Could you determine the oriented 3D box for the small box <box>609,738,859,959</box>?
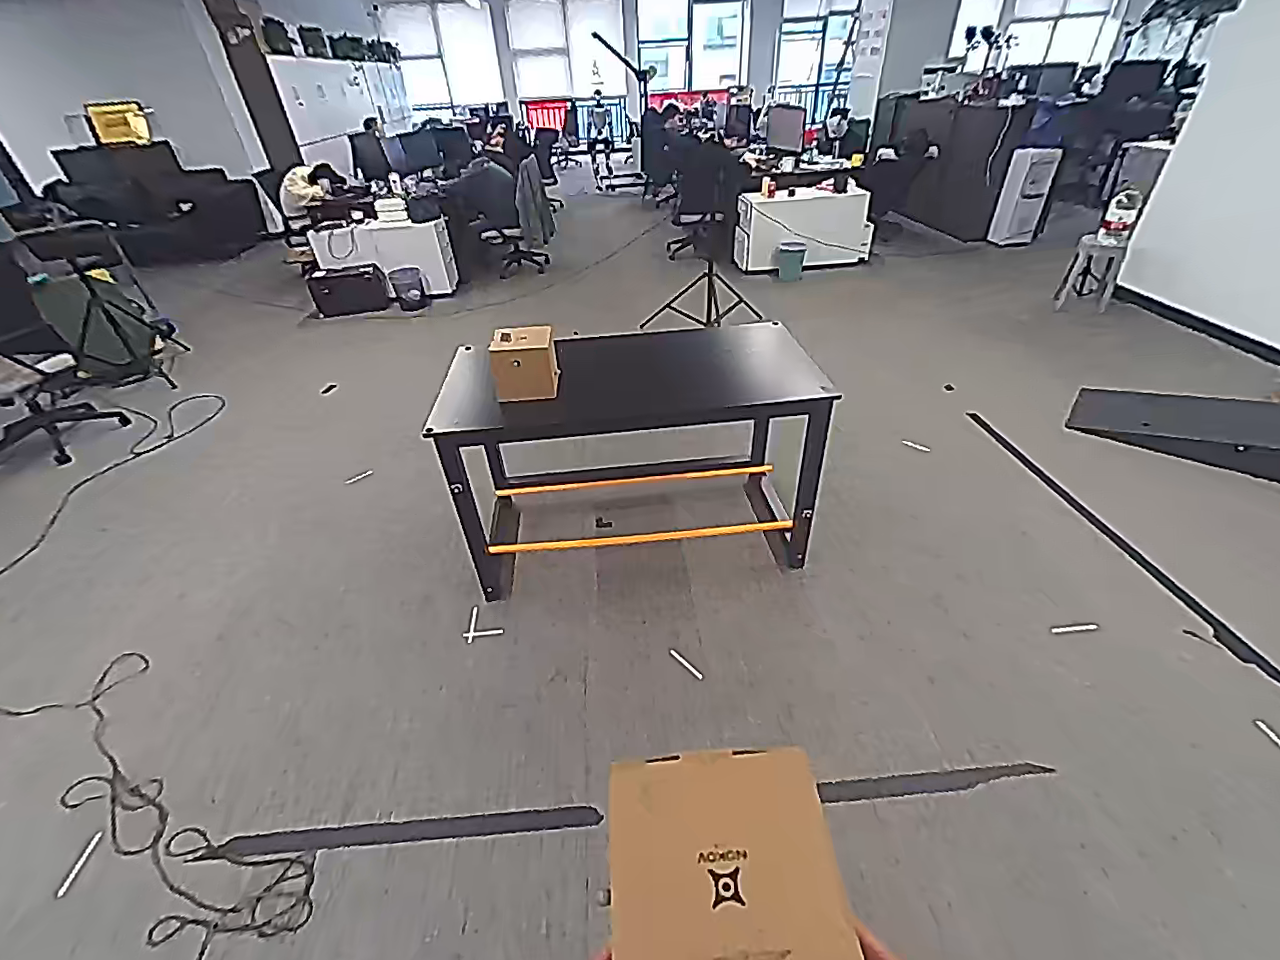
[{"bbox_3d":[0.062,0.341,0.445,0.168,0.176,0.179,-5,41,0],"label":"small box"}]

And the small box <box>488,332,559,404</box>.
[{"bbox_3d":[-0.354,-0.343,1.670,0.179,0.176,0.168,-4,37,-2],"label":"small box"}]
